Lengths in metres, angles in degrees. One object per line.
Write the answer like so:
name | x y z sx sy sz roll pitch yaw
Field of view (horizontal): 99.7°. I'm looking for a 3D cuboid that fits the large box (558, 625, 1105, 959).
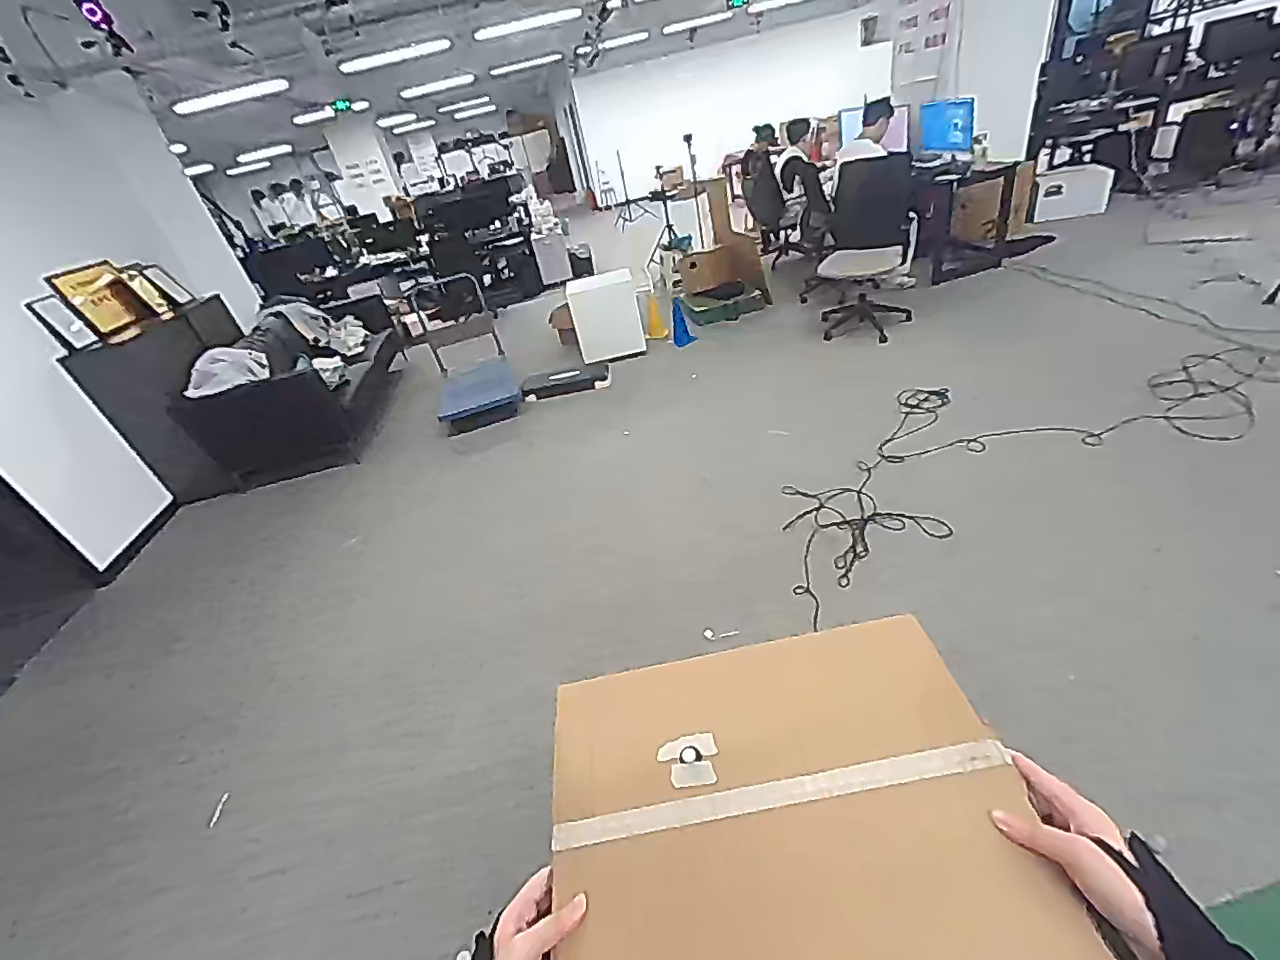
large box | 0.154 0.412 0.580 0.408 0.320 0.320 -14 37 5
